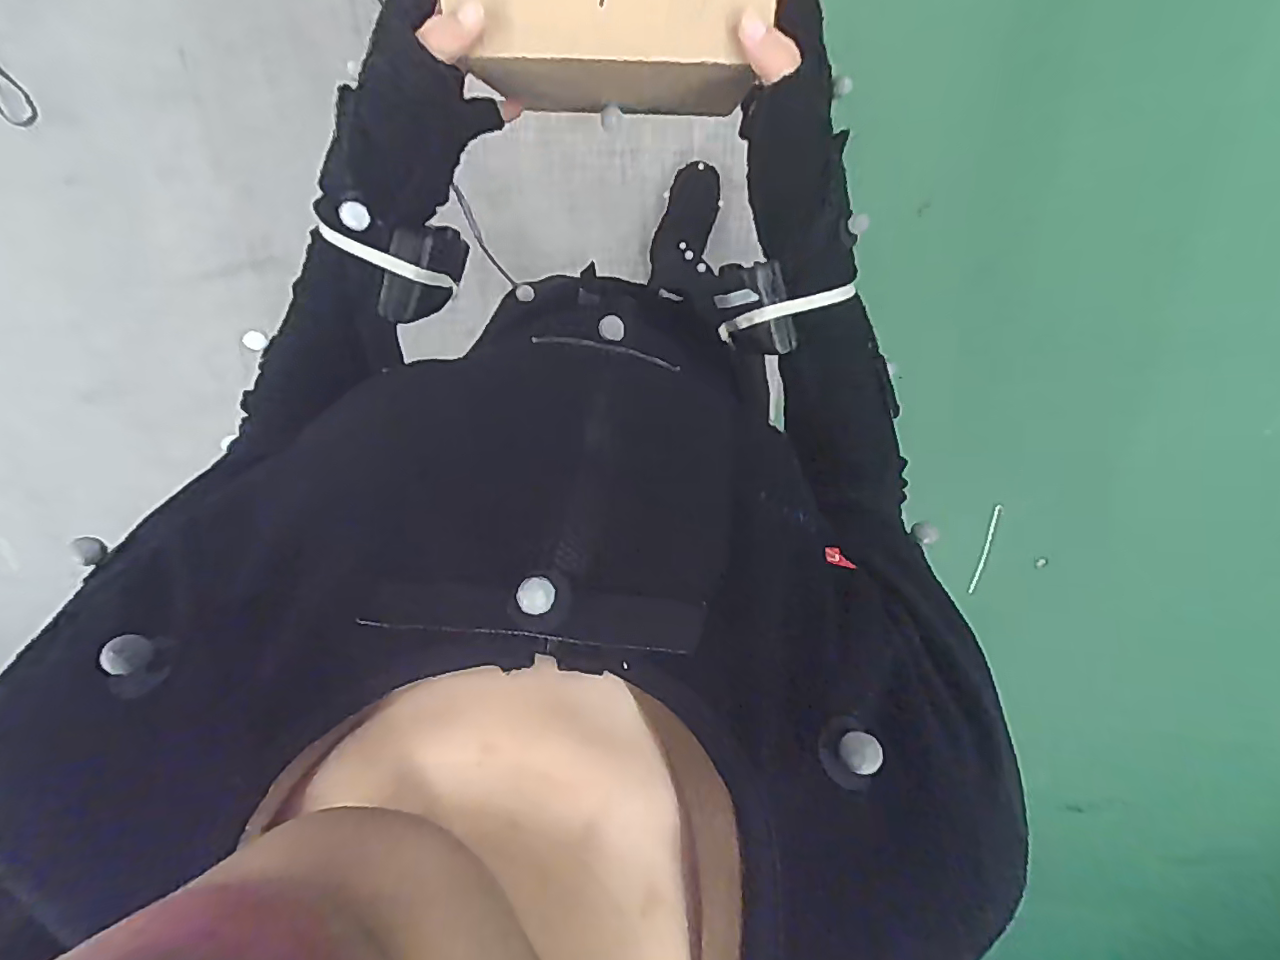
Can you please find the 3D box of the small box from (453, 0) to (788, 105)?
[{"bbox_3d":[-0.005,-0.334,0.303,0.168,0.176,0.179,2,116,1],"label":"small box"}]
